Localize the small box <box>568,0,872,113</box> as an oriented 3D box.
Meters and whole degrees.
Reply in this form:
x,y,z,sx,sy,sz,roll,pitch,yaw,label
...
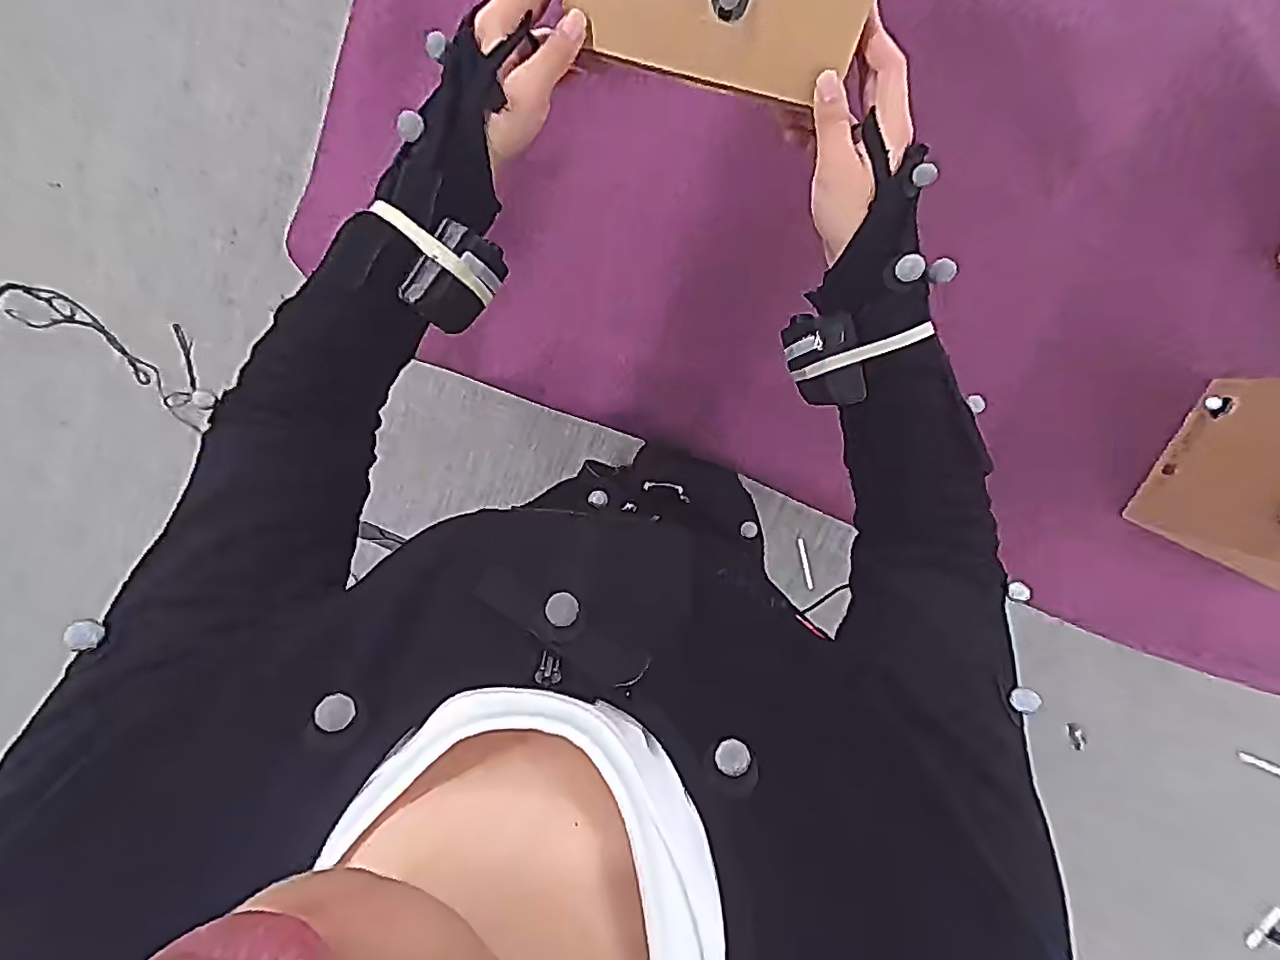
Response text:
x,y,z,sx,sy,sz,roll,pitch,yaw,label
0.065,-0.356,0.333,0.179,0.168,0.176,15,131,0,small box

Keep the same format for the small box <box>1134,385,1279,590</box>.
x,y,z,sx,sy,sz,roll,pitch,yaw,label
0.626,0.020,0.490,0.179,0.176,0.168,25,101,0,small box
